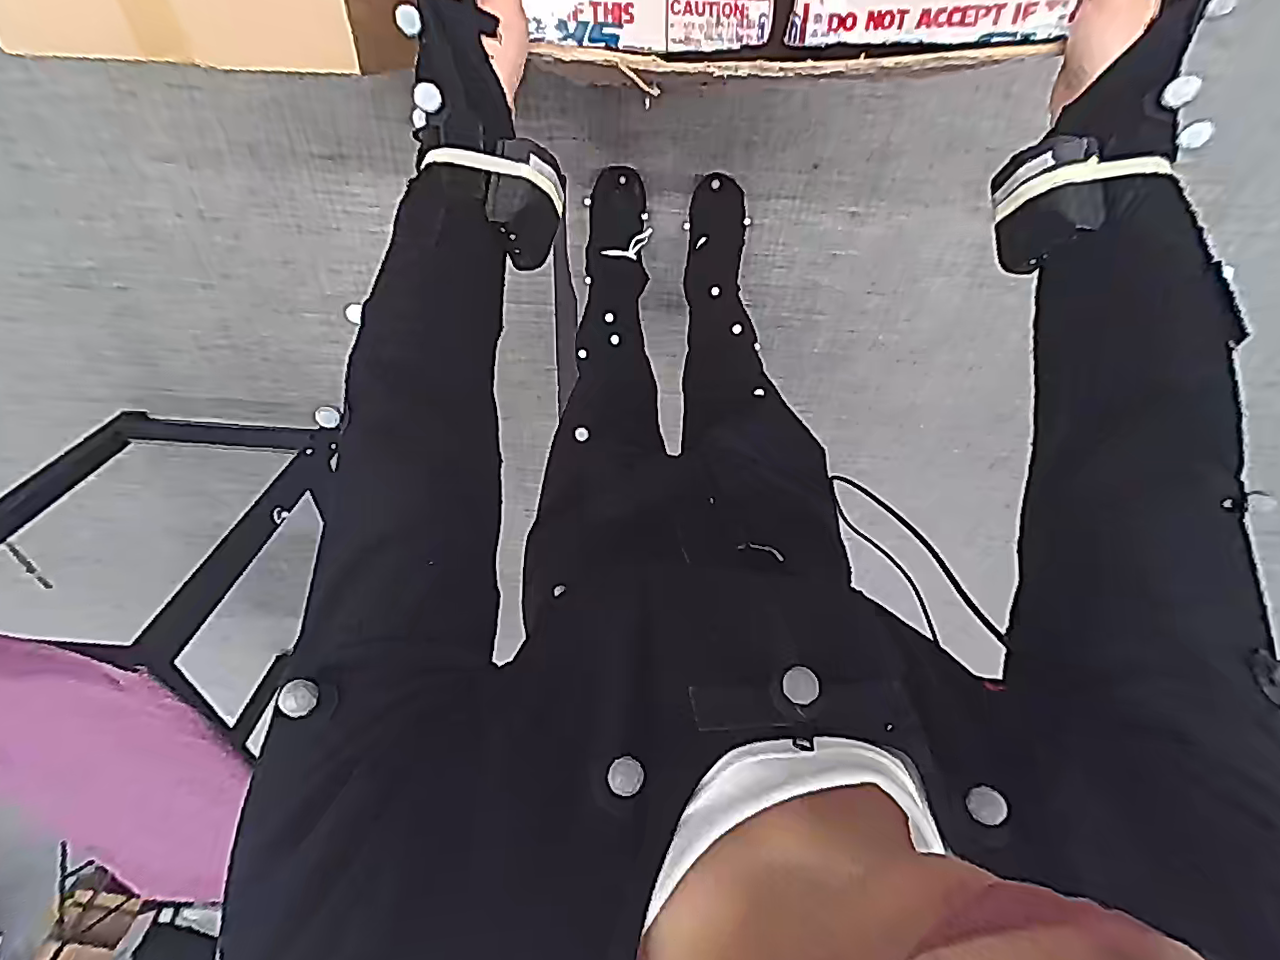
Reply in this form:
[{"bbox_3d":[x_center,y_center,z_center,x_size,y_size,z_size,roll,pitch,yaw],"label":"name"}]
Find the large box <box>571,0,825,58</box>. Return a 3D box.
[{"bbox_3d":[0.074,-0.790,0.671,0.320,0.320,0.408,3,131,1],"label":"large box"}]
